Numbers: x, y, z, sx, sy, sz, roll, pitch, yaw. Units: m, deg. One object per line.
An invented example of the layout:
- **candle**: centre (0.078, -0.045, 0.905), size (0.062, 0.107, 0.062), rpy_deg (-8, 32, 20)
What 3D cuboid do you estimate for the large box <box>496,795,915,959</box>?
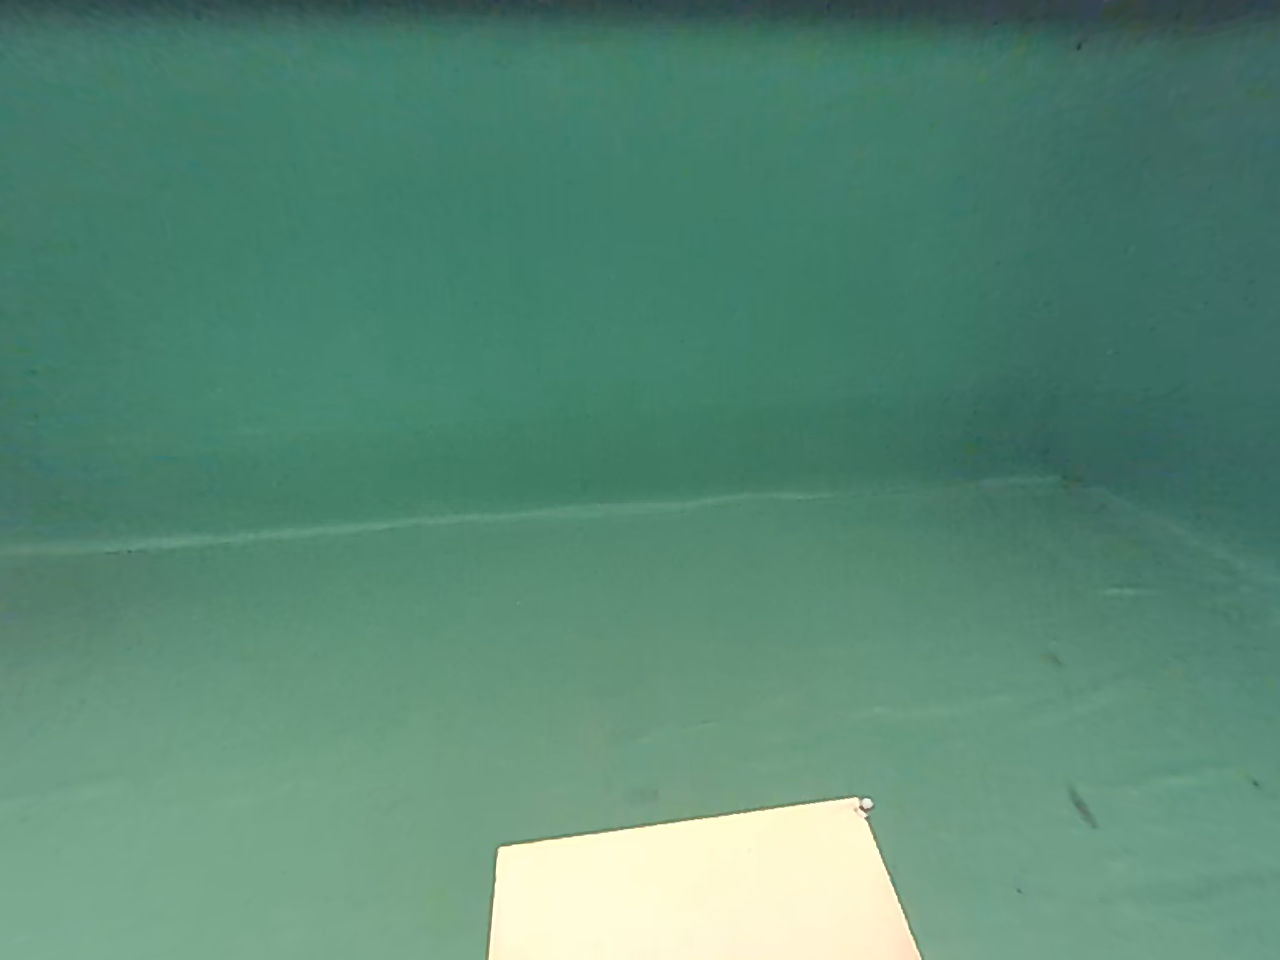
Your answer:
- **large box**: centre (0.068, 0.595, 0.583), size (0.408, 0.320, 0.320), rpy_deg (-6, 40, -5)
